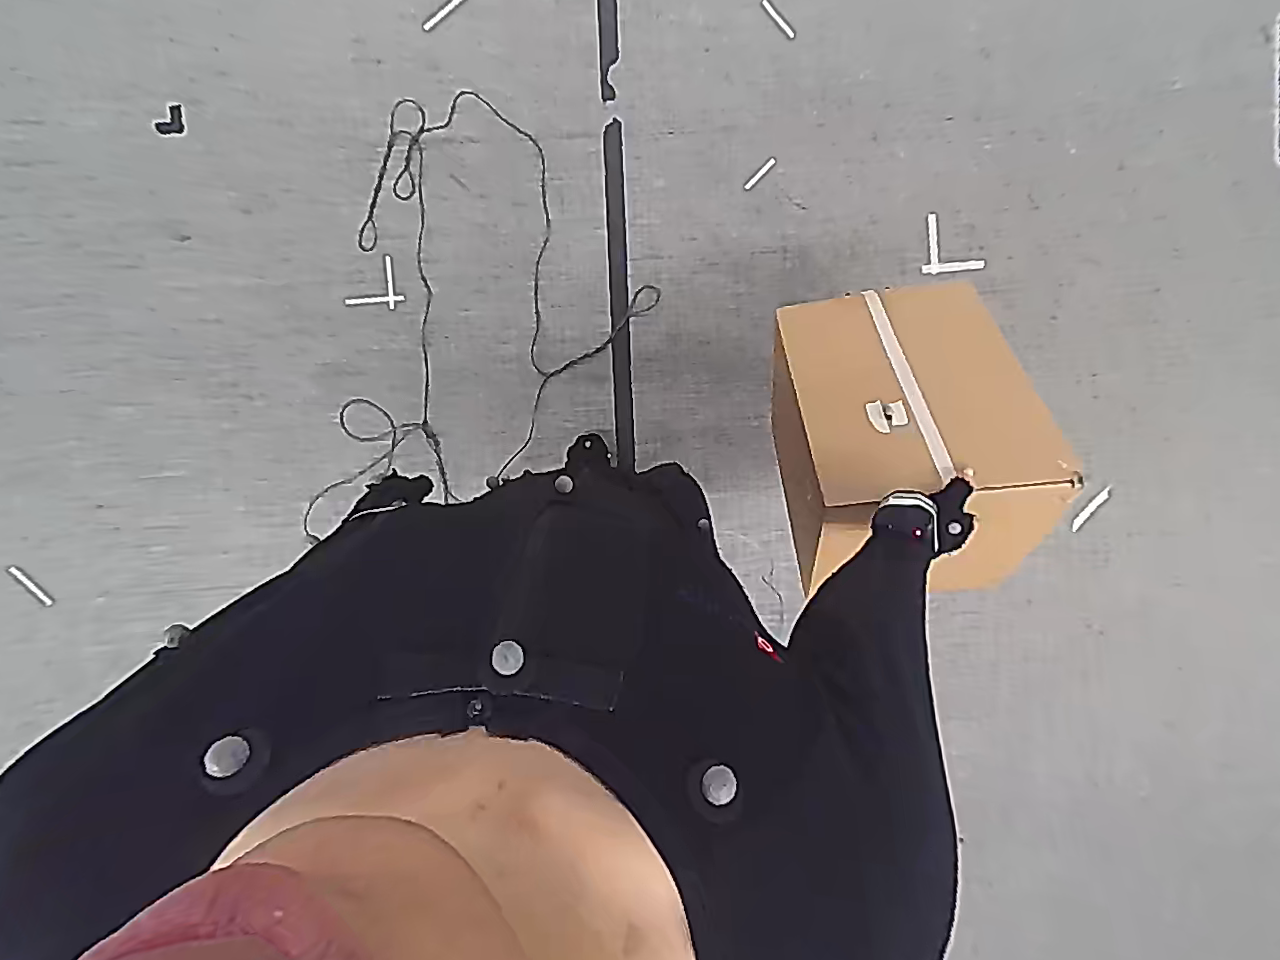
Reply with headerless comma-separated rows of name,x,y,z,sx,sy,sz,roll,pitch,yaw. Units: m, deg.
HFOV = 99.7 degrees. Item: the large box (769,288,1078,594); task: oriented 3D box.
large box,0.415,-0.059,0.927,0.320,0.320,0.408,-7,55,7
